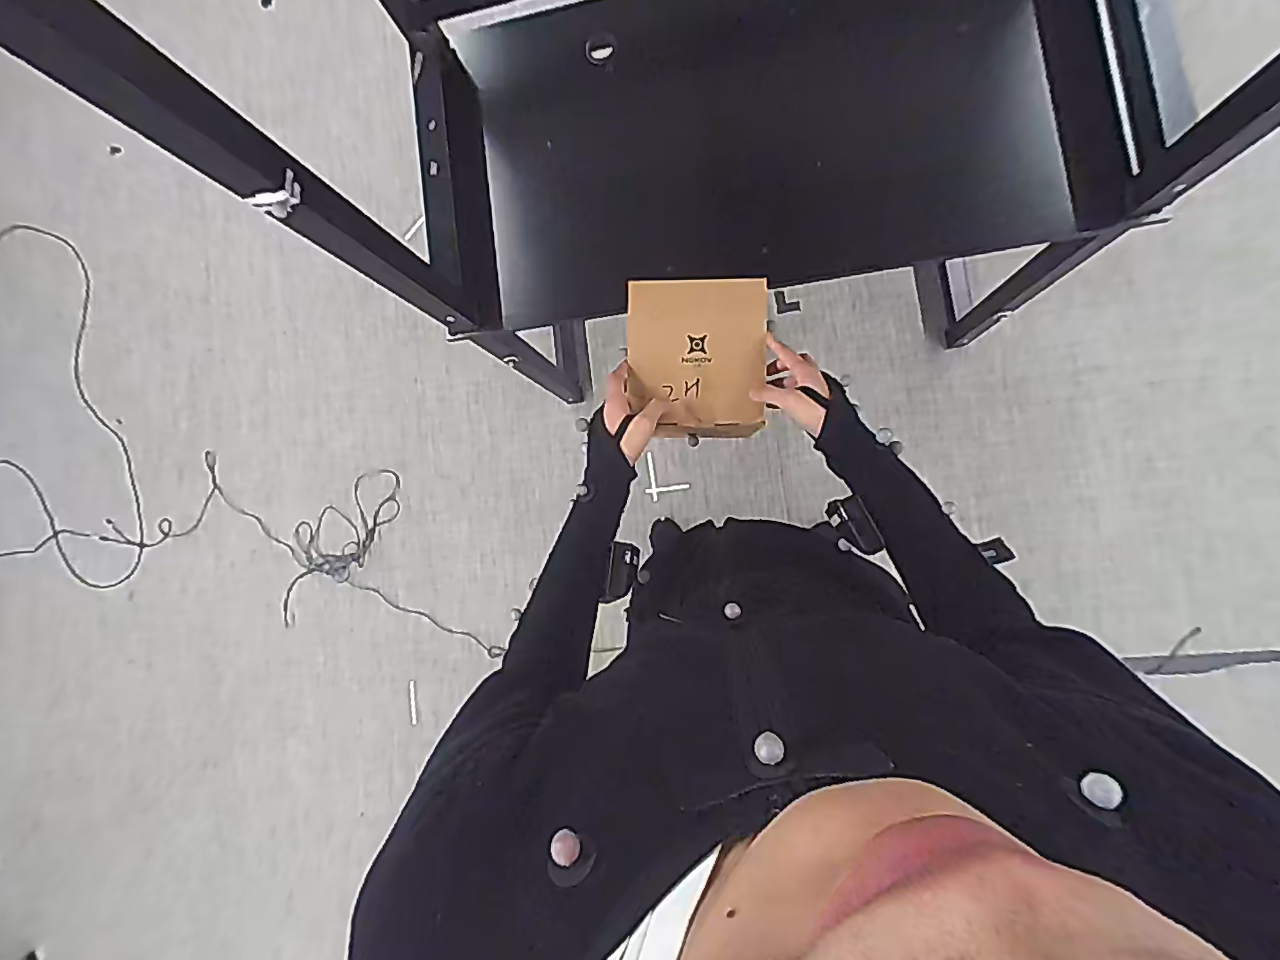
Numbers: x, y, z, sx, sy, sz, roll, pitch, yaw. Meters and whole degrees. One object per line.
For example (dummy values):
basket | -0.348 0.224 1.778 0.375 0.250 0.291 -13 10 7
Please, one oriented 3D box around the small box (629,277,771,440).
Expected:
small box | 0.076 -0.150 0.715 0.168 0.176 0.179 1 89 5
